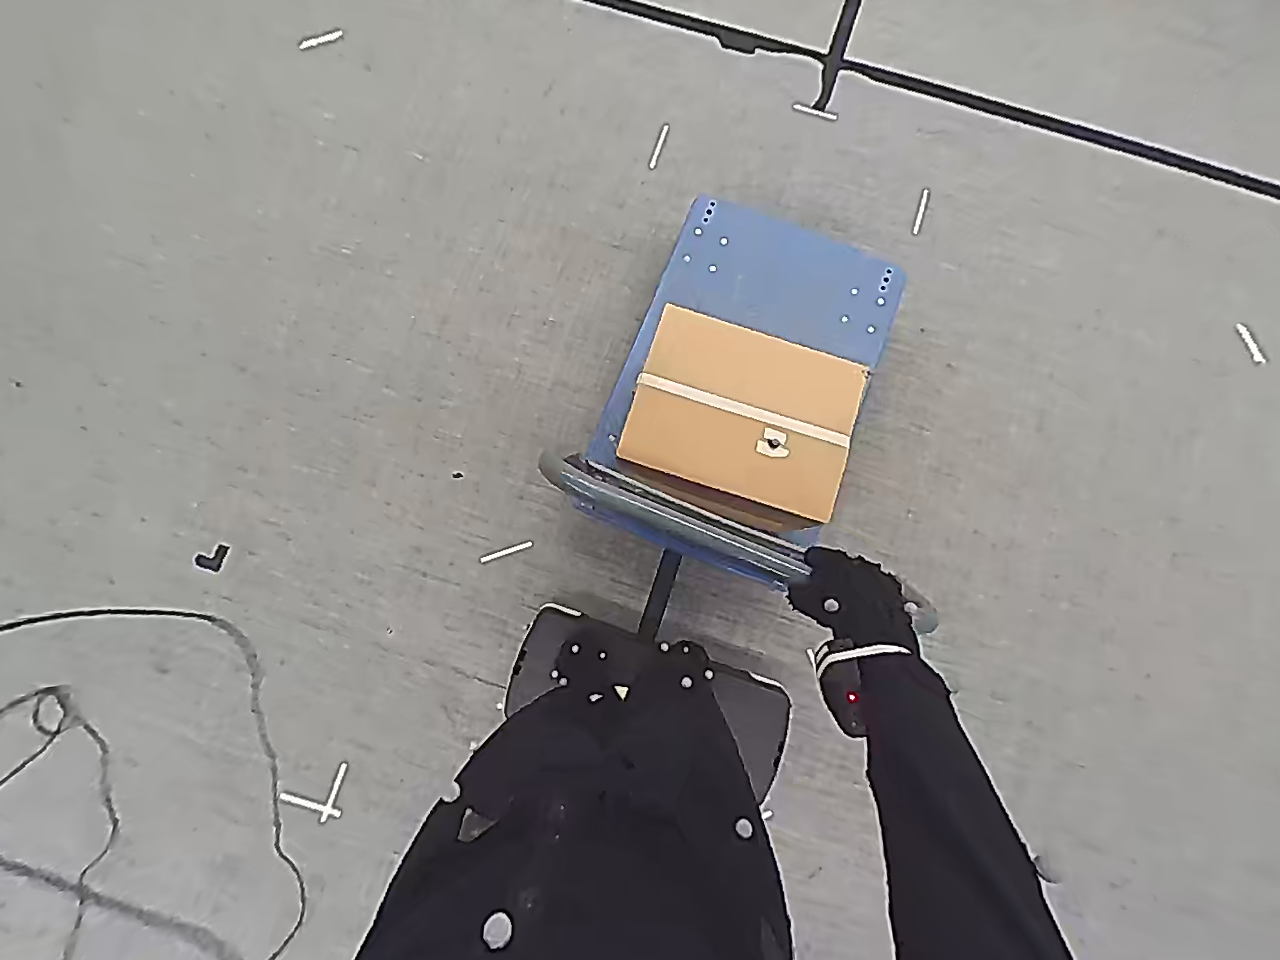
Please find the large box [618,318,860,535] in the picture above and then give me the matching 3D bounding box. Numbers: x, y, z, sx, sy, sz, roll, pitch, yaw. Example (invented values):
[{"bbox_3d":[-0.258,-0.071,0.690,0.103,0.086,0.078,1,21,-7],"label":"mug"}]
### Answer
[{"bbox_3d":[0.185,-0.092,1.164,0.408,0.320,0.320,18,81,0],"label":"large box"}]
